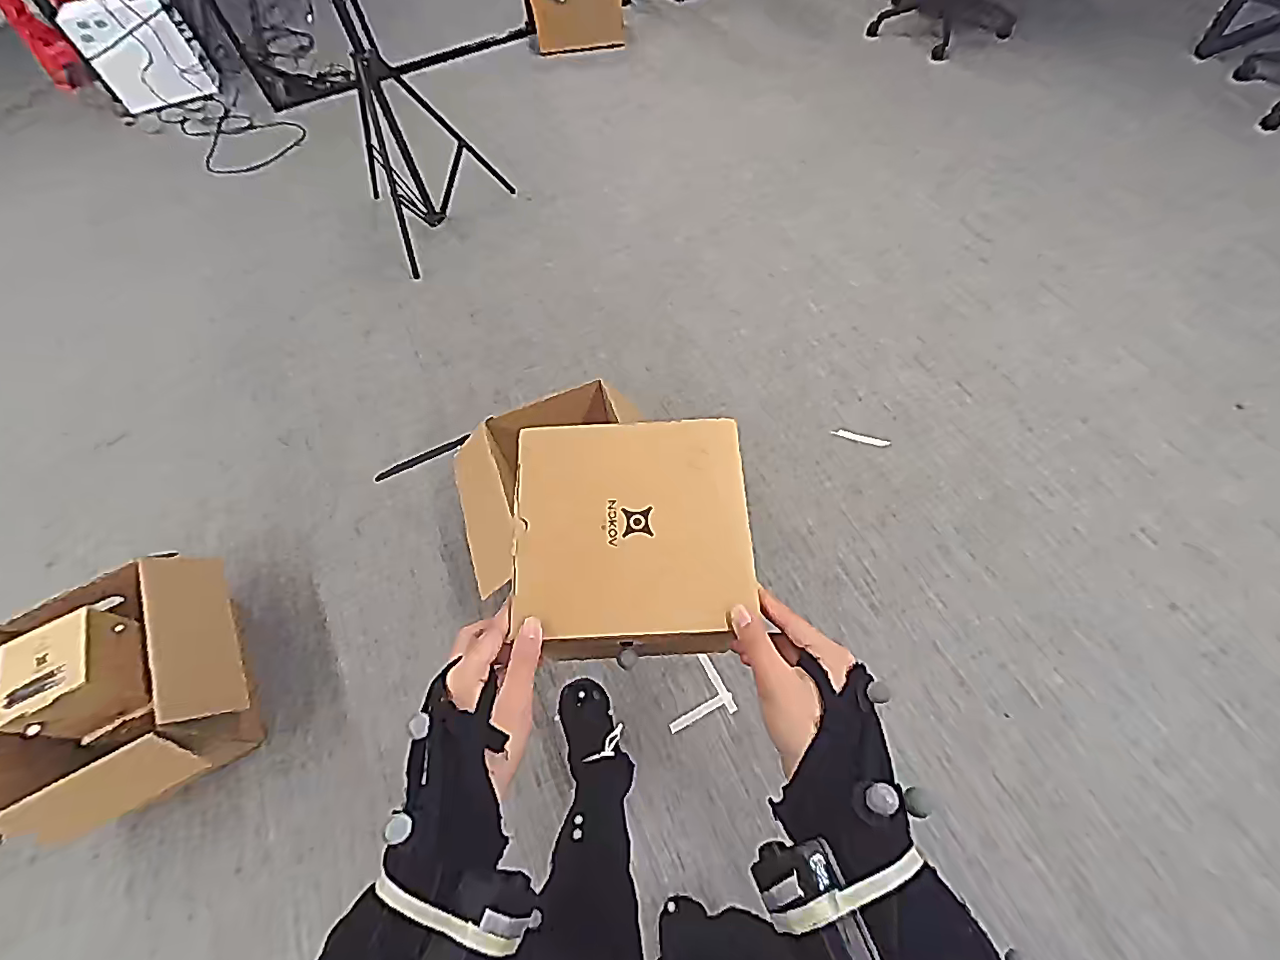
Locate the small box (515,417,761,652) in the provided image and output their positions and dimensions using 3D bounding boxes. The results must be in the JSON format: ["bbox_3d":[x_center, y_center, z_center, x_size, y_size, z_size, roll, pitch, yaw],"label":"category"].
[{"bbox_3d":[-0.003,0.058,0.481,0.179,0.176,0.168,-3,67,1],"label":"small box"}]
